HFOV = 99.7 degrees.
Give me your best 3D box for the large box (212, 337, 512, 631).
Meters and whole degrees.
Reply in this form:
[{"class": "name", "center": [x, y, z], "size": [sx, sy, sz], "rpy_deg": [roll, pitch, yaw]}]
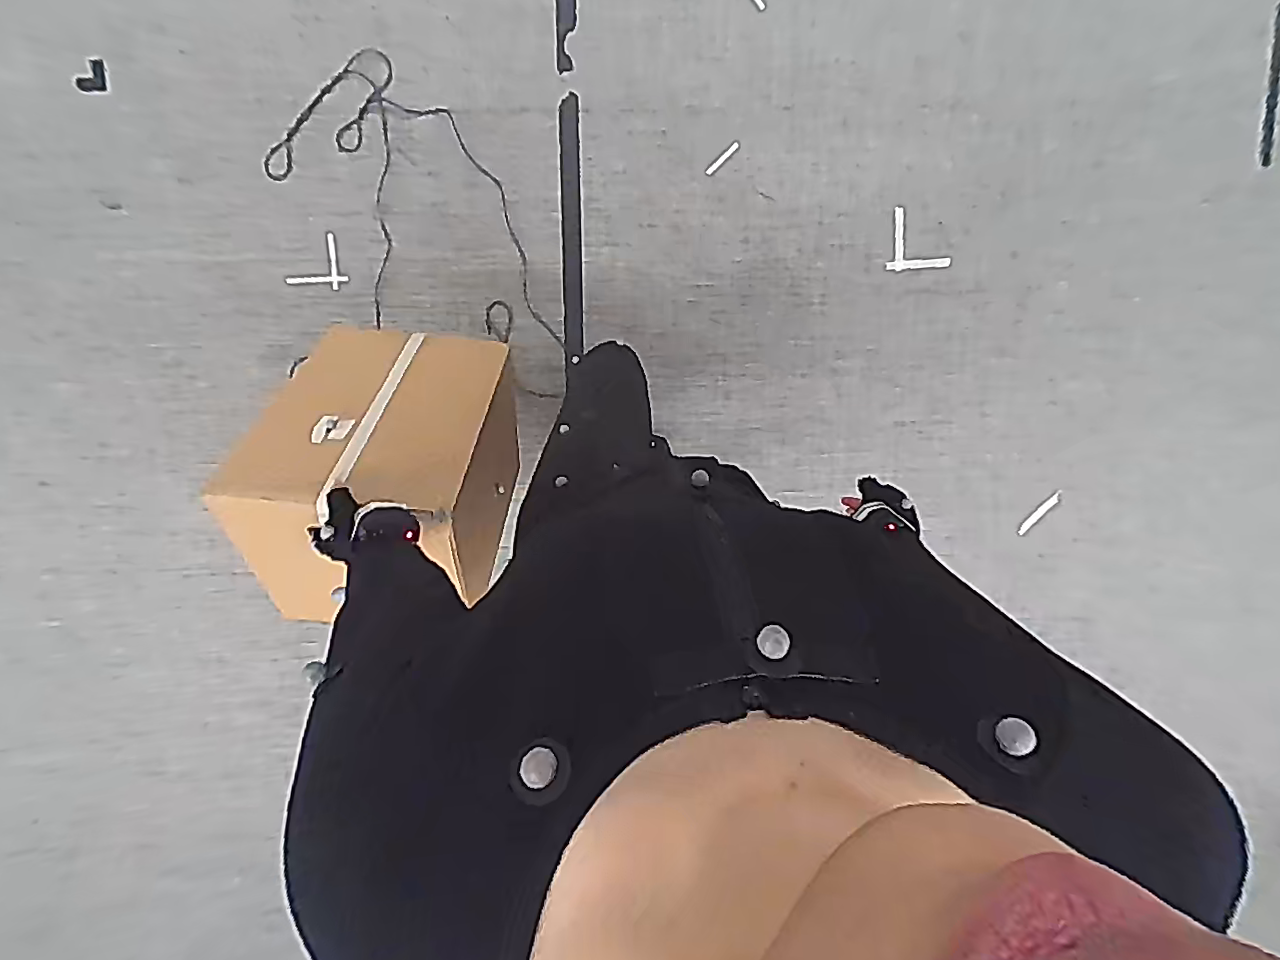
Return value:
[{"class": "large box", "center": [-0.413, 0.003, 0.942], "size": [0.320, 0.408, 0.320], "rpy_deg": [4, 136, -3]}]
